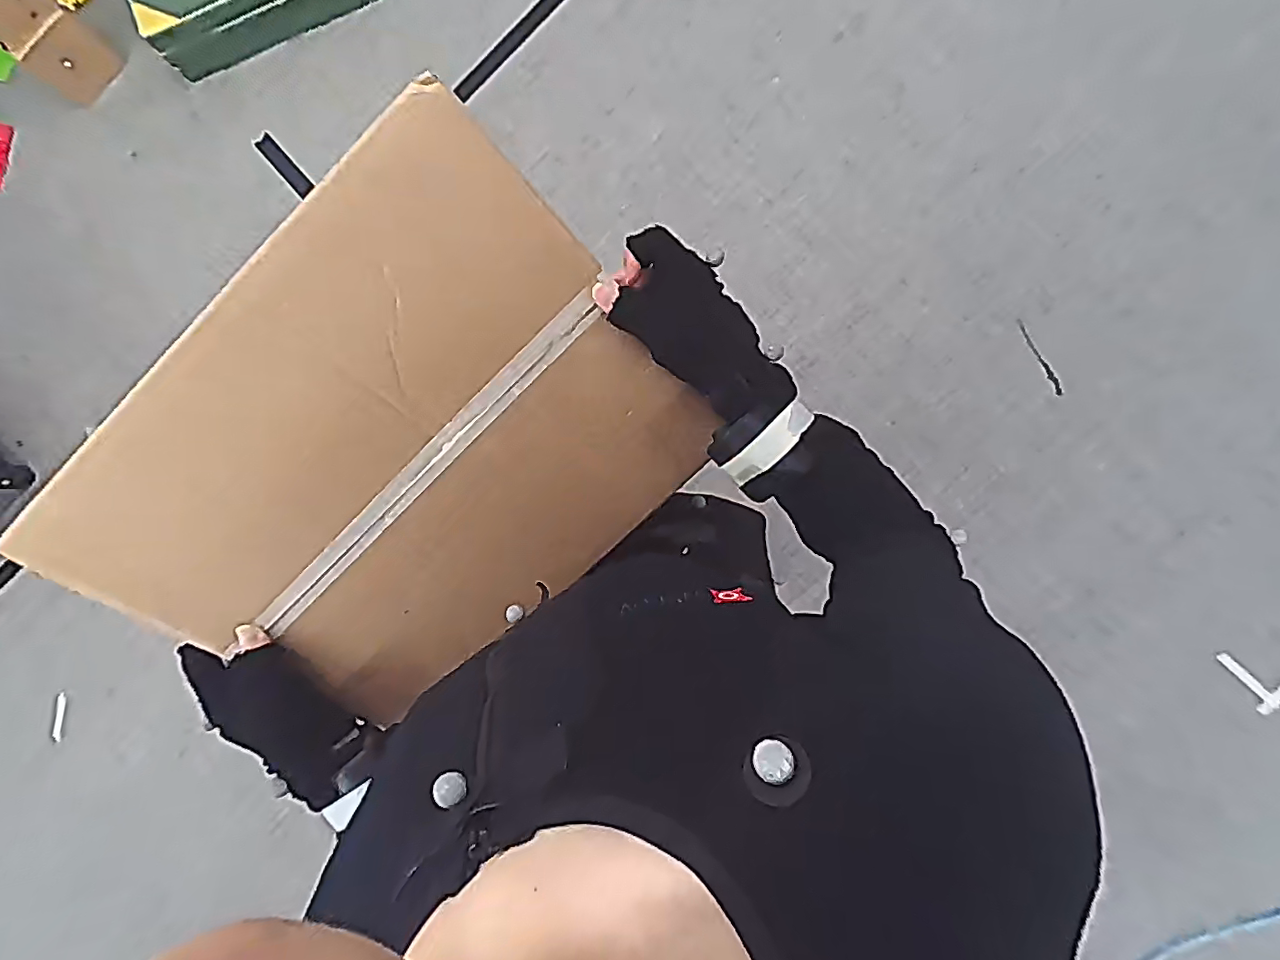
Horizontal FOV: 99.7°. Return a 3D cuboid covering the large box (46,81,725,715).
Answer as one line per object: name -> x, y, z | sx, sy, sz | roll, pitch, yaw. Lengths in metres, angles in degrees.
large box -> -0.200, -0.067, 0.540 | 0.408, 0.320, 0.320 | -43, 118, 7
